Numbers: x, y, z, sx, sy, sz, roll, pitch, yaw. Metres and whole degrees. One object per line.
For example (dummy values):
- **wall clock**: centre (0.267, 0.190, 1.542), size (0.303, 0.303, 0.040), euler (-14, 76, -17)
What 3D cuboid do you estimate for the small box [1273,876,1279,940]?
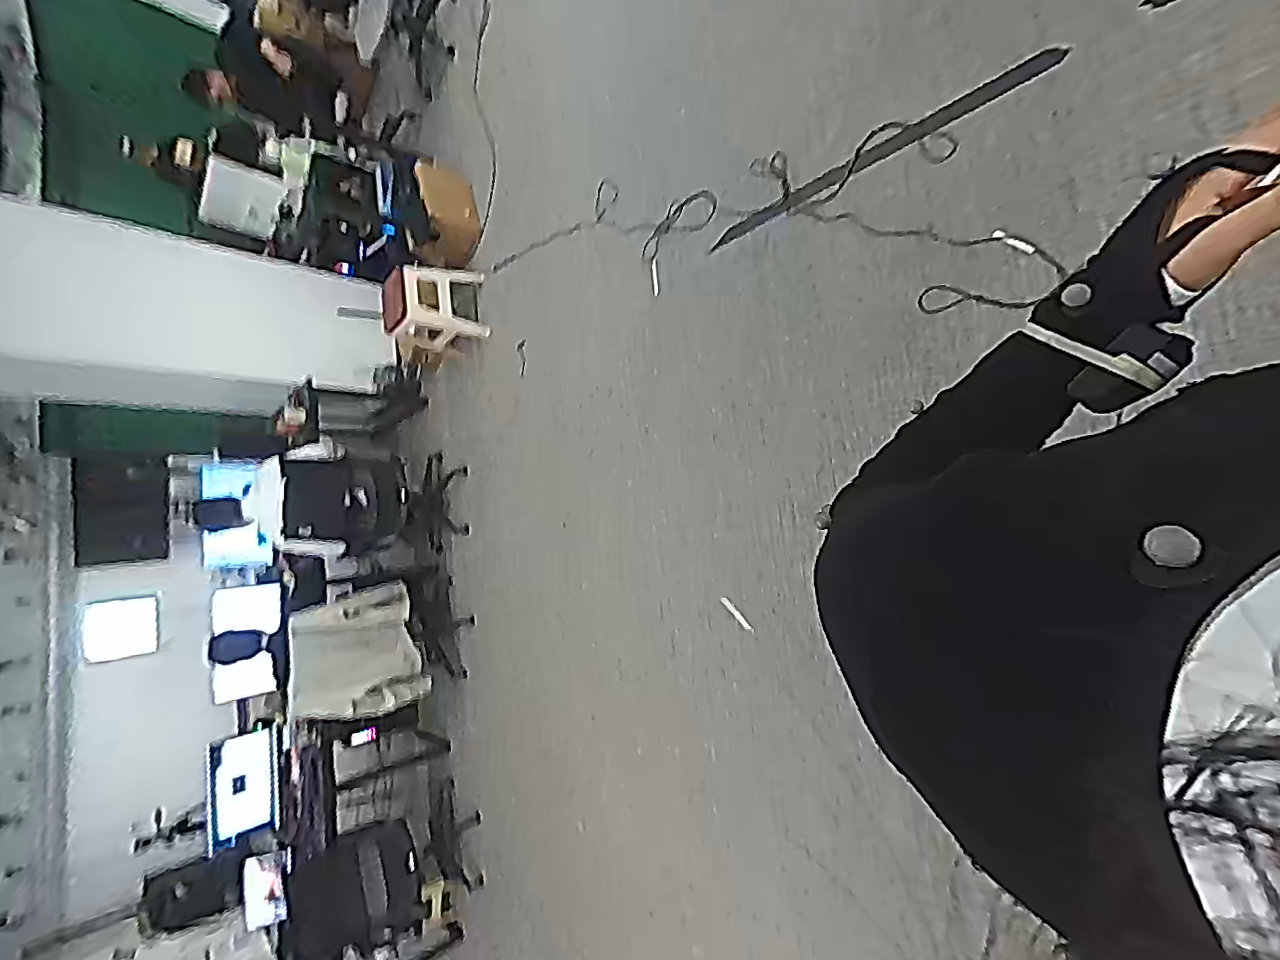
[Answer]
- **small box**: centre (0.806, 0.565, 0.562), size (0.168, 0.176, 0.179), euler (-14, 77, 45)
